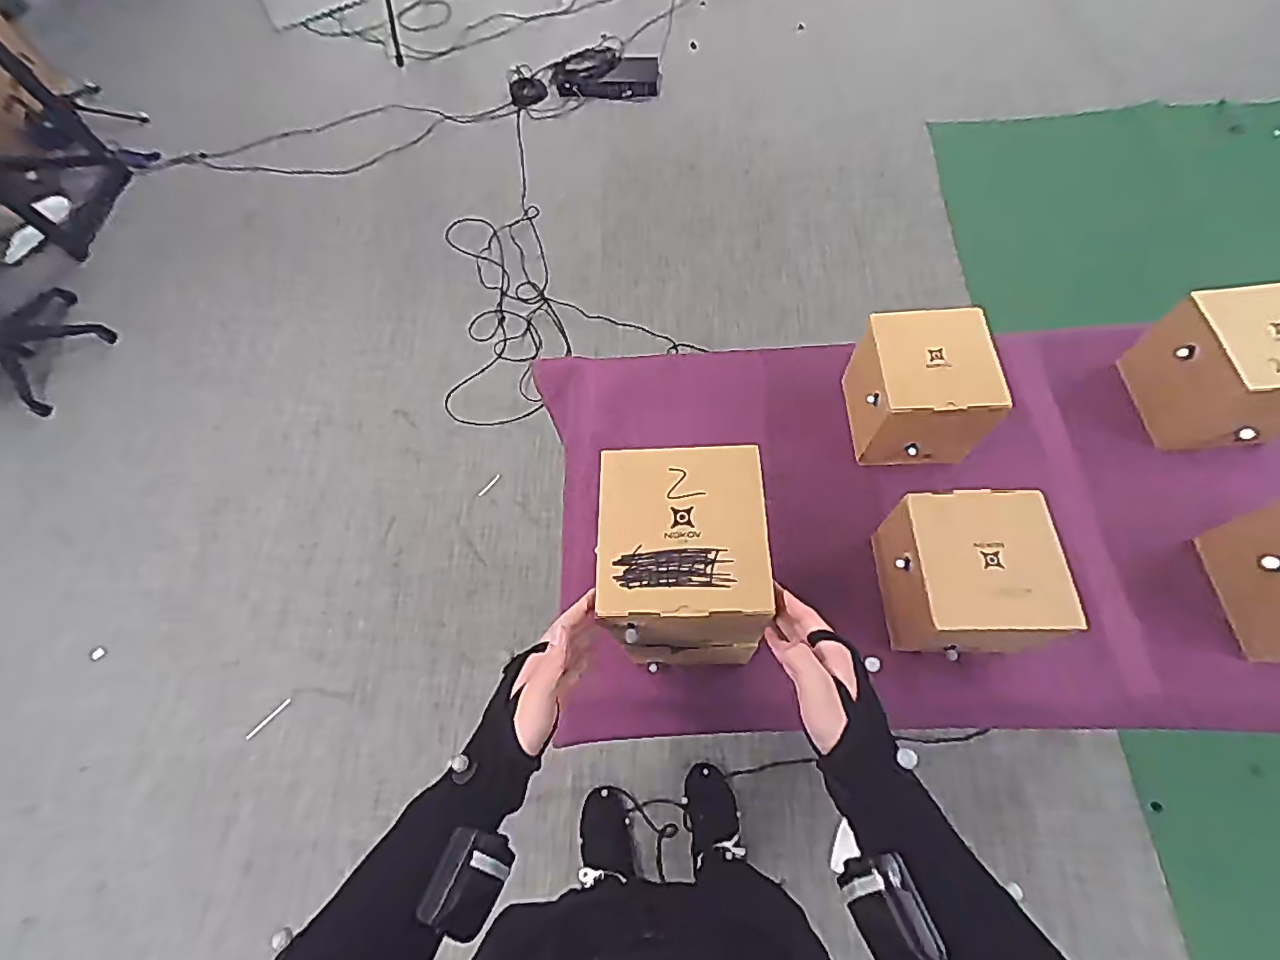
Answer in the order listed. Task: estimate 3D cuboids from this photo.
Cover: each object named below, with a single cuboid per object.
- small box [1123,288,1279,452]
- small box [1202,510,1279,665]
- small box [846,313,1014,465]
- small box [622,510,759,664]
[{"bbox_3d":[0.890,-0.160,0.811,0.168,0.176,0.179,-4,65,7],"label":"small box"},{"bbox_3d":[0.882,0.128,0.675,0.168,0.176,0.179,-1,62,7],"label":"small box"},{"bbox_3d":[0.437,-0.138,0.851,0.168,0.176,0.179,-1,66,4],"label":"small box"},{"bbox_3d":[0.069,0.153,0.743,0.168,0.176,0.179,-1,63,4],"label":"small box"}]
